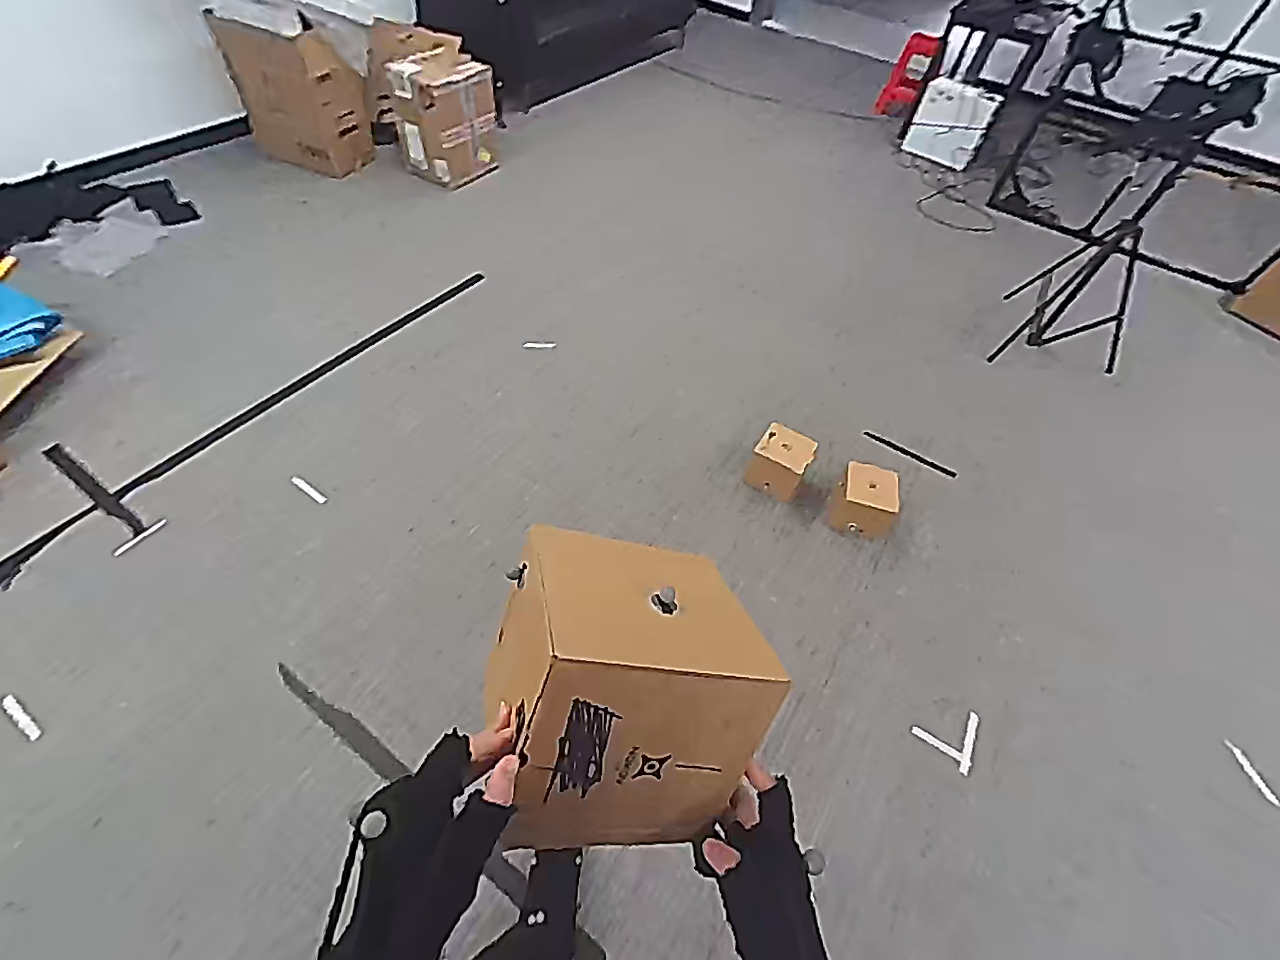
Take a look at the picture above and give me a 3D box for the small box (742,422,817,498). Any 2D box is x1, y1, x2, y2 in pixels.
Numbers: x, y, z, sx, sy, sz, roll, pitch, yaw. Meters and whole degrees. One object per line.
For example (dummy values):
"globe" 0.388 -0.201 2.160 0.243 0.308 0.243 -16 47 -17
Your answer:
"small box" 0.481 -0.063 1.879 0.179 0.176 0.168 29 55 16

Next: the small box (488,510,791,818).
"small box" -0.018 0.140 0.444 0.179 0.168 0.176 13 19 -21

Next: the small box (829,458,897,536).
"small box" 0.744 0.059 1.814 0.168 0.176 0.179 14 53 6
